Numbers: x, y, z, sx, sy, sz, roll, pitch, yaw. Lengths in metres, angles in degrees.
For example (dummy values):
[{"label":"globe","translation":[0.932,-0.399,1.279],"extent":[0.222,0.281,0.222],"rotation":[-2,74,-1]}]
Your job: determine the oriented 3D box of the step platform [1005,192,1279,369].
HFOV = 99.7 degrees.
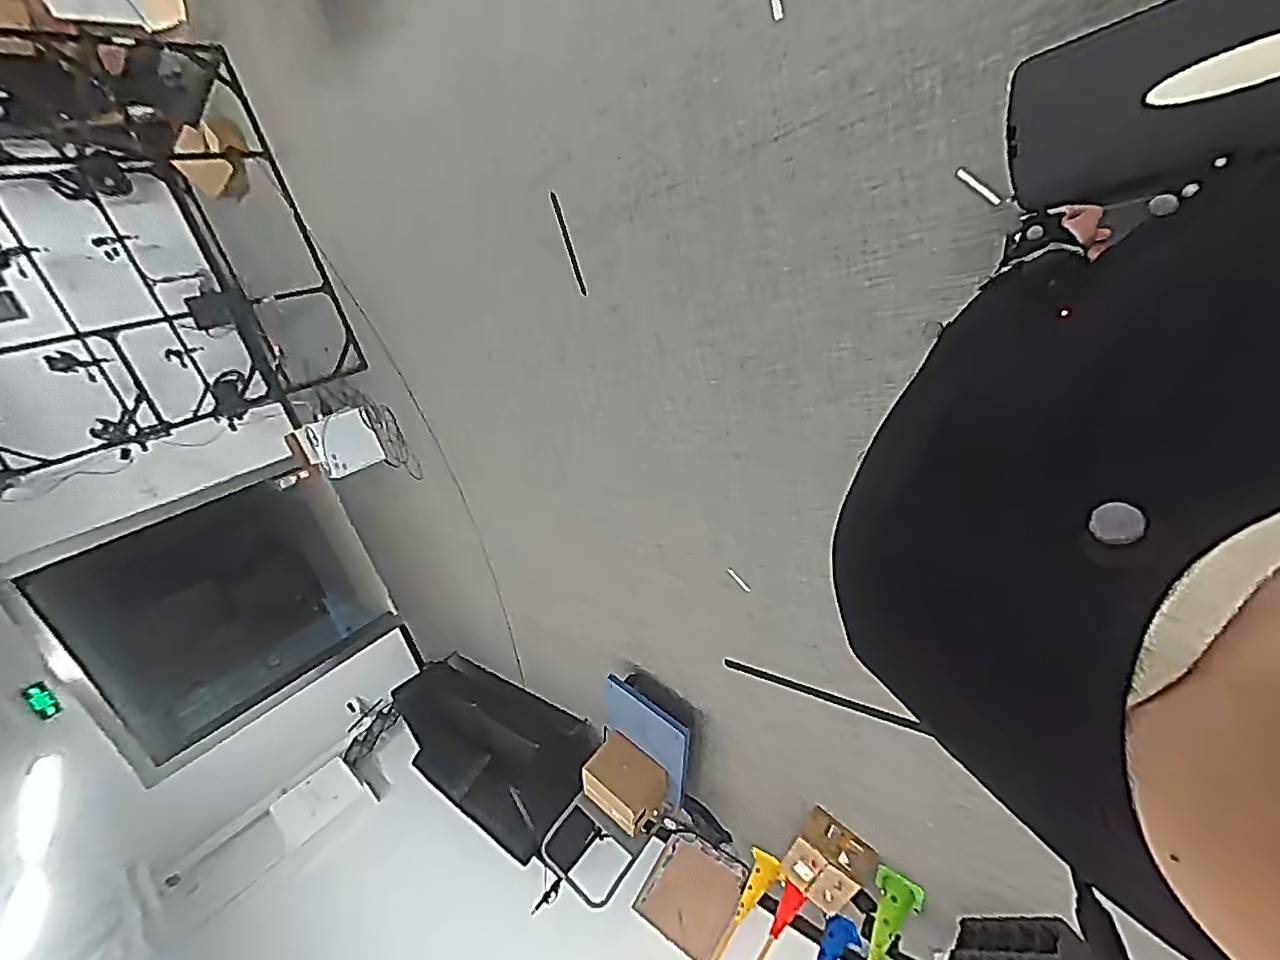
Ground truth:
[{"label":"step platform","translation":[1.064,-0.358,0.967],"extent":[0.684,0.204,0.286],"rotation":[10,120,44]}]
